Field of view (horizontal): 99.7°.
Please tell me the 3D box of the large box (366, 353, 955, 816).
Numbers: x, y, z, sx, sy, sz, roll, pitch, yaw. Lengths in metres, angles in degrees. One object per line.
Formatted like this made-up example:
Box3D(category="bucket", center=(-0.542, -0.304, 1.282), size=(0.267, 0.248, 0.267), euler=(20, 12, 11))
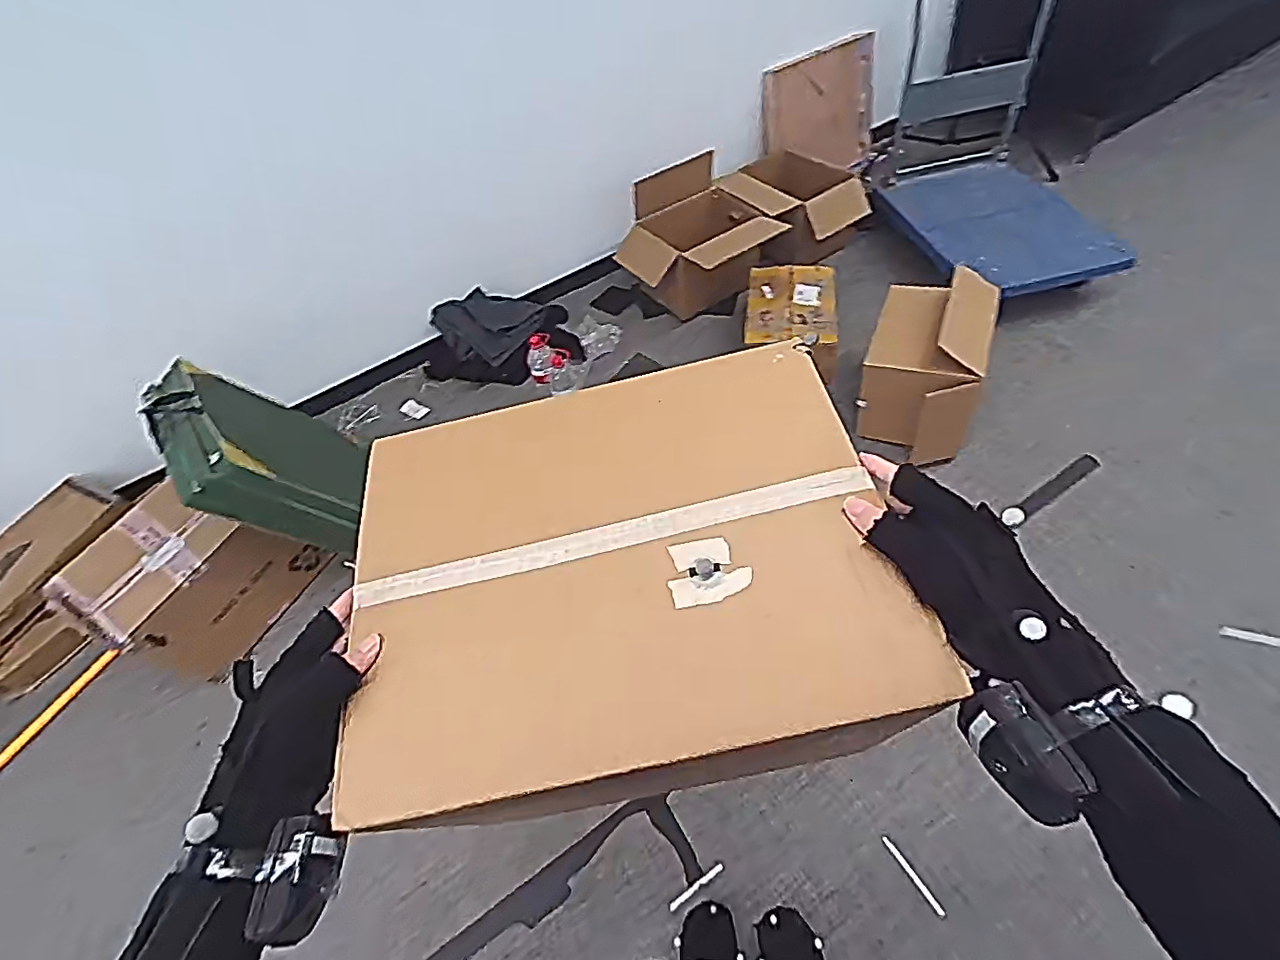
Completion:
Box3D(category="large box", center=(0.006, 0.127, 0.554), size=(0.408, 0.320, 0.320), euler=(-12, 58, 2))
